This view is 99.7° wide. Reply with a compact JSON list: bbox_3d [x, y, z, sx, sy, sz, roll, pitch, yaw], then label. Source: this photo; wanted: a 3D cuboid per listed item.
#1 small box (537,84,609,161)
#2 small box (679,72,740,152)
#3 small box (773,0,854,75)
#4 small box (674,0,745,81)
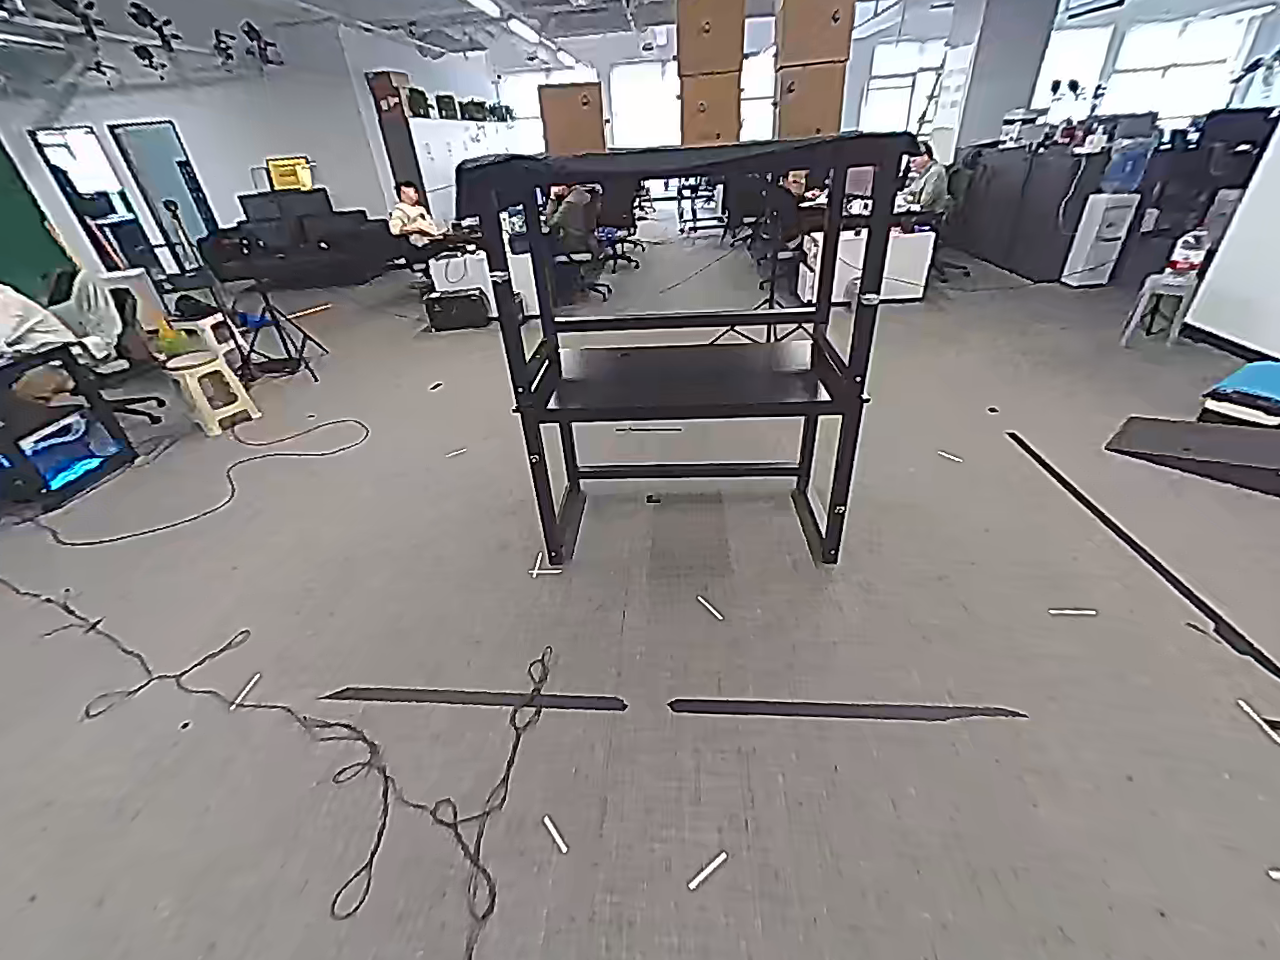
[{"bbox_3d":[-0.184,-1.016,1.543,0.179,0.176,0.168,-3,30,1],"label":"small box"},{"bbox_3d":[0.199,-1.035,1.531,0.168,0.176,0.179,0,31,8],"label":"small box"},{"bbox_3d":[0.445,-1.167,1.401,0.179,0.176,0.168,-2,30,7],"label":"small box"},{"bbox_3d":[0.186,-1.170,1.437,0.179,0.176,0.168,-1,30,9],"label":"small box"}]
